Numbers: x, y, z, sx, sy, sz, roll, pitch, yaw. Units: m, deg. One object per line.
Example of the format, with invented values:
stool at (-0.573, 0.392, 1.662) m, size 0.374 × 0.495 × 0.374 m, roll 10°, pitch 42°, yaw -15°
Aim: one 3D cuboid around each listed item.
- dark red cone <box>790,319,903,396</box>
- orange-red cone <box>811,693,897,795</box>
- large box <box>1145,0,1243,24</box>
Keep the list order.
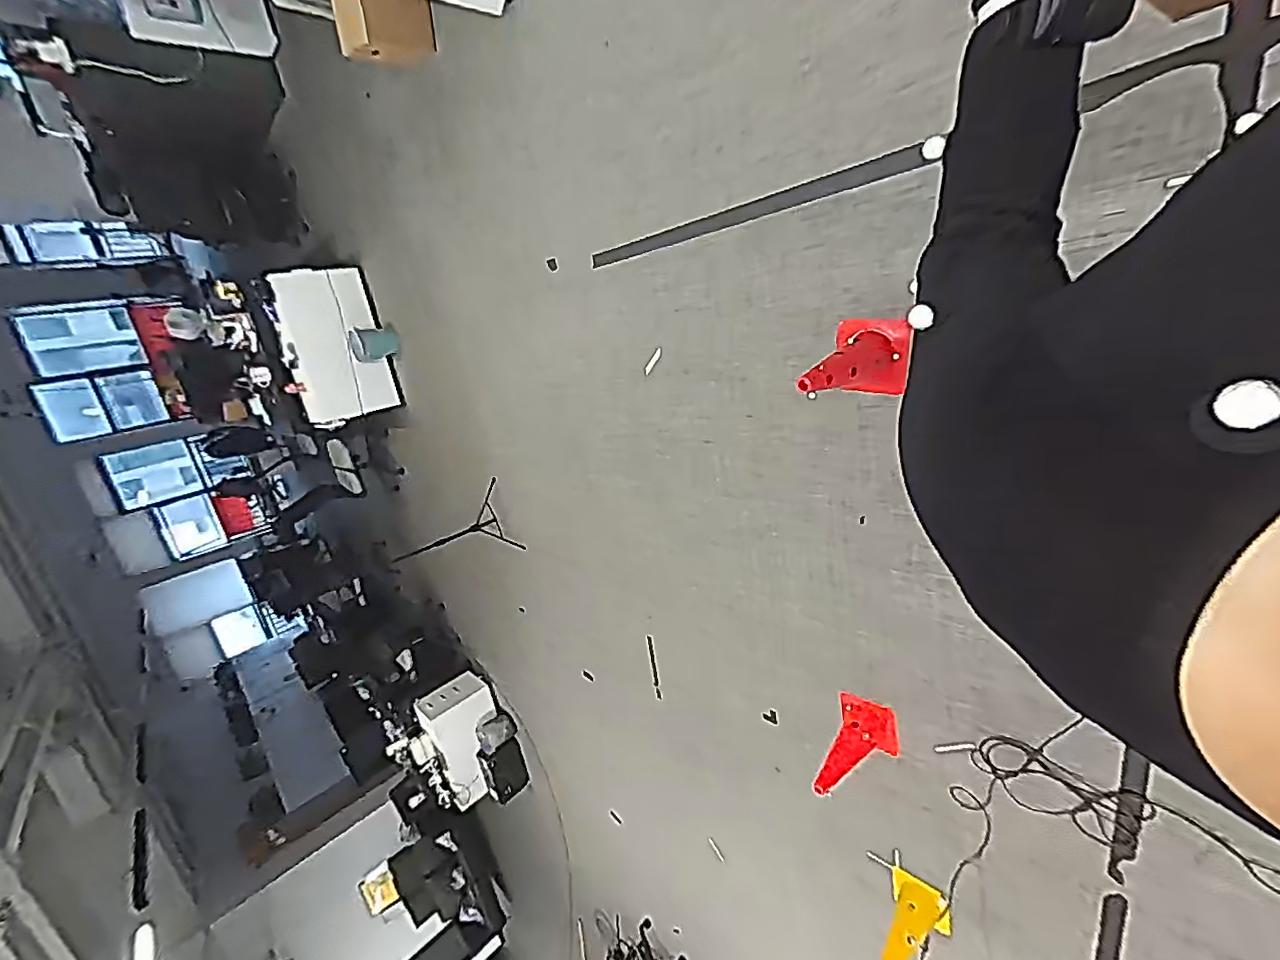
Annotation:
dark red cone at (0.495, -0.280, 1.367) m, size 0.201 × 0.394 × 0.202 m, roll 15°, pitch 120°, yaw 43°
orange-red cone at (0.686, 0.925, 1.818) m, size 0.198 × 0.360 × 0.199 m, roll 6°, pitch 115°, yaw 48°
large box at (0.490, -0.493, 0.231) m, size 0.408 × 0.320 × 0.320 m, roll 8°, pitch 119°, yaw 47°
